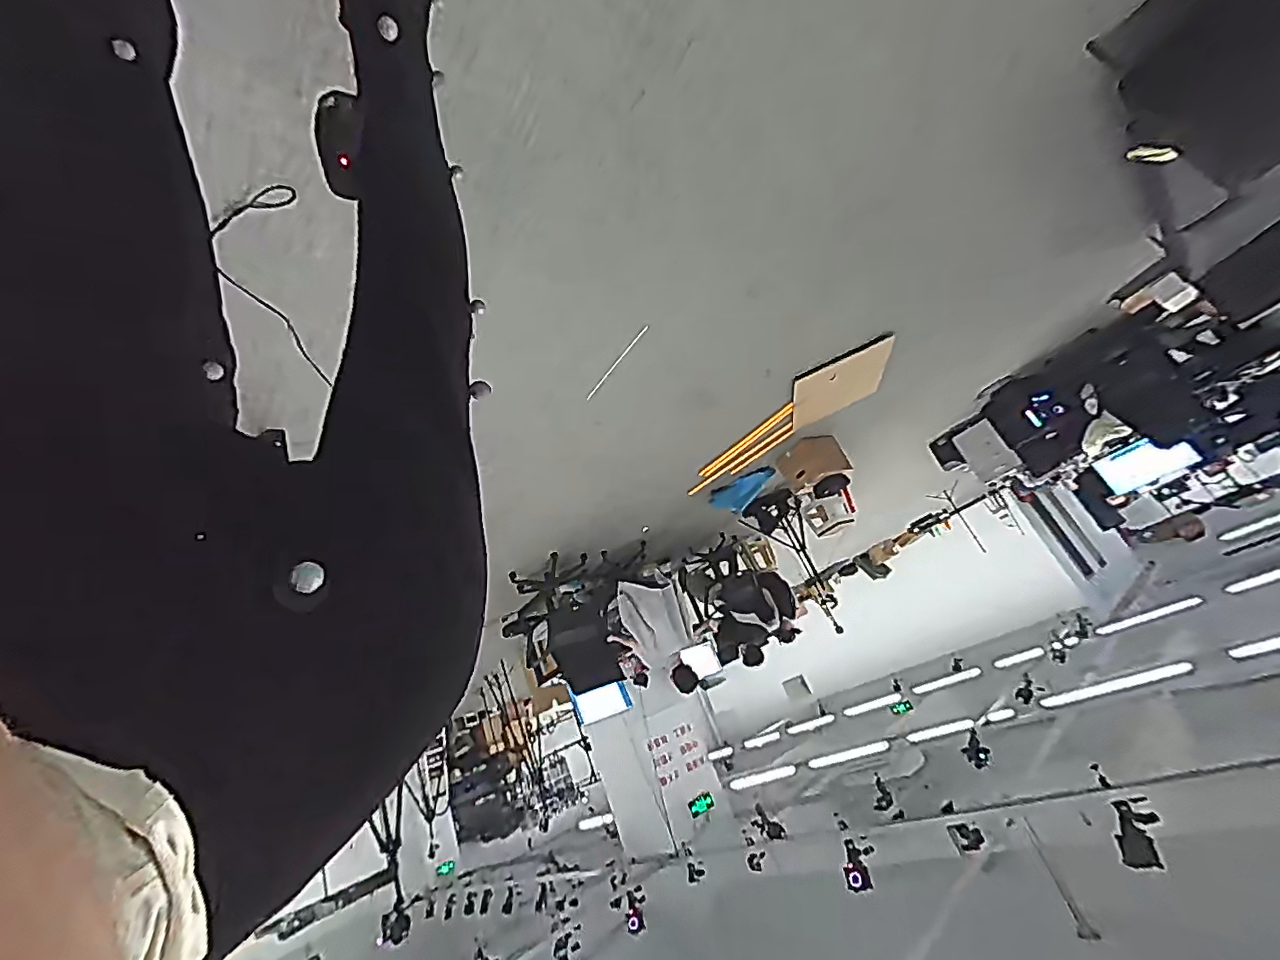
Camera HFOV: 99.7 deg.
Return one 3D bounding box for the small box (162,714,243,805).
[{"bbox_3d":[-1.212,0.768,1.498,0.168,0.176,0.179,-1,148,-41],"label":"small box"}]
